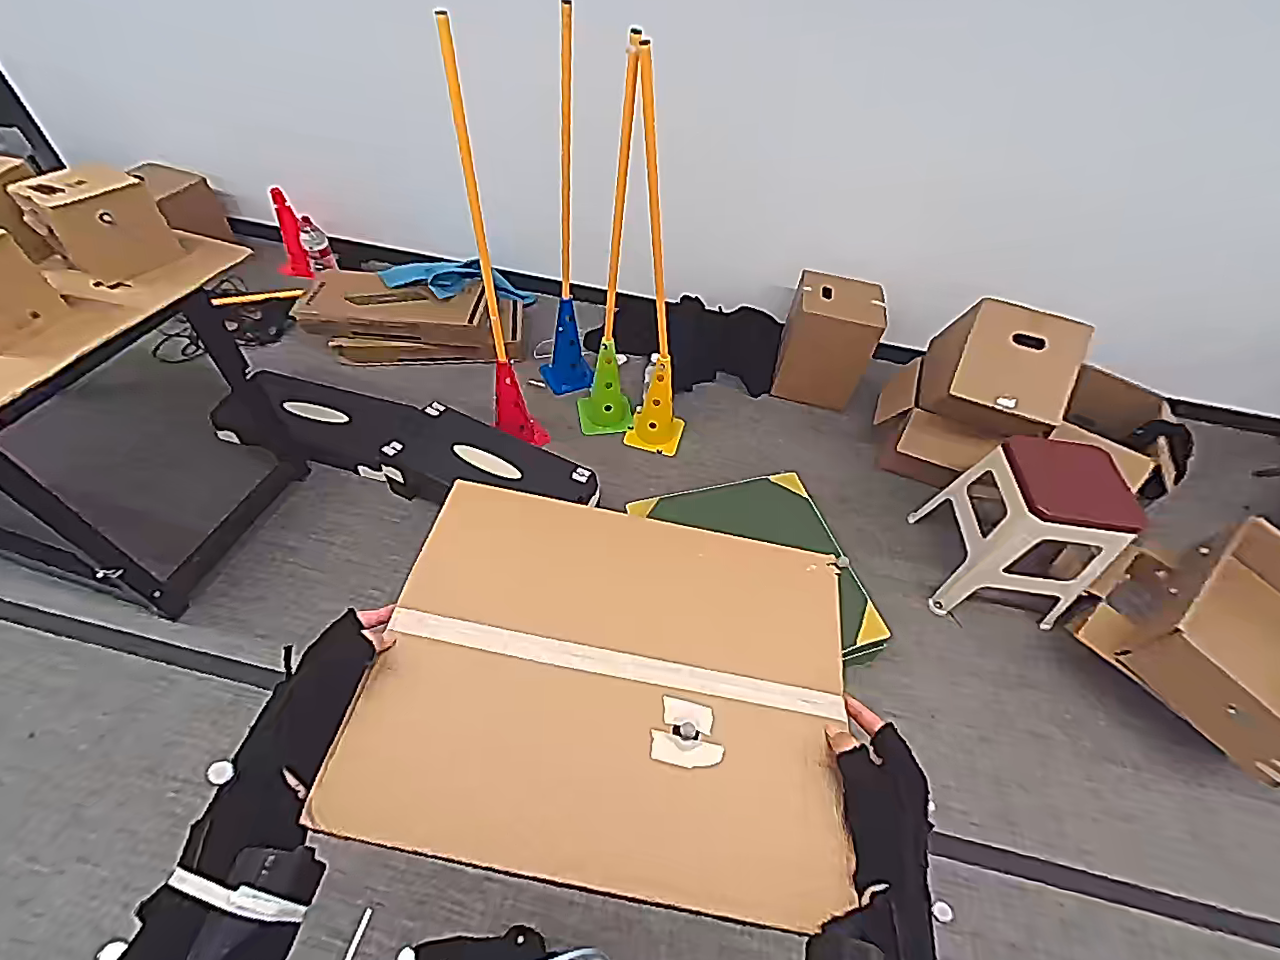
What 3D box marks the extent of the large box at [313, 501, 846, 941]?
[{"bbox_3d":[-0.041,0.264,0.597,0.408,0.320,0.320,12,54,0],"label":"large box"}]
